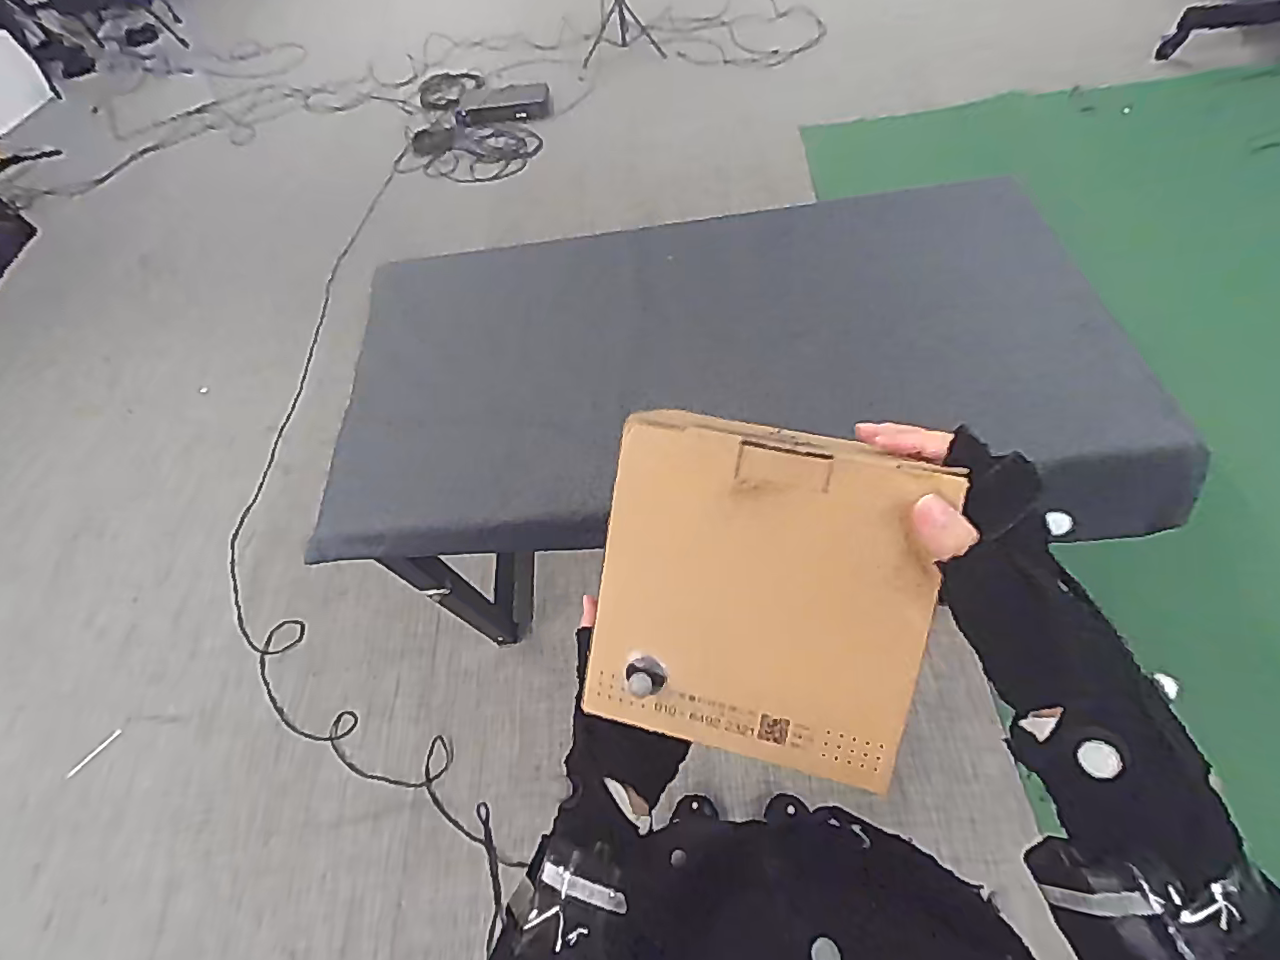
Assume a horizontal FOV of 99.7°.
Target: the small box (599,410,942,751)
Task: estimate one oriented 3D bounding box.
[{"bbox_3d":[0.077,0.049,0.373,0.168,0.179,0.176,12,99,10],"label":"small box"}]
